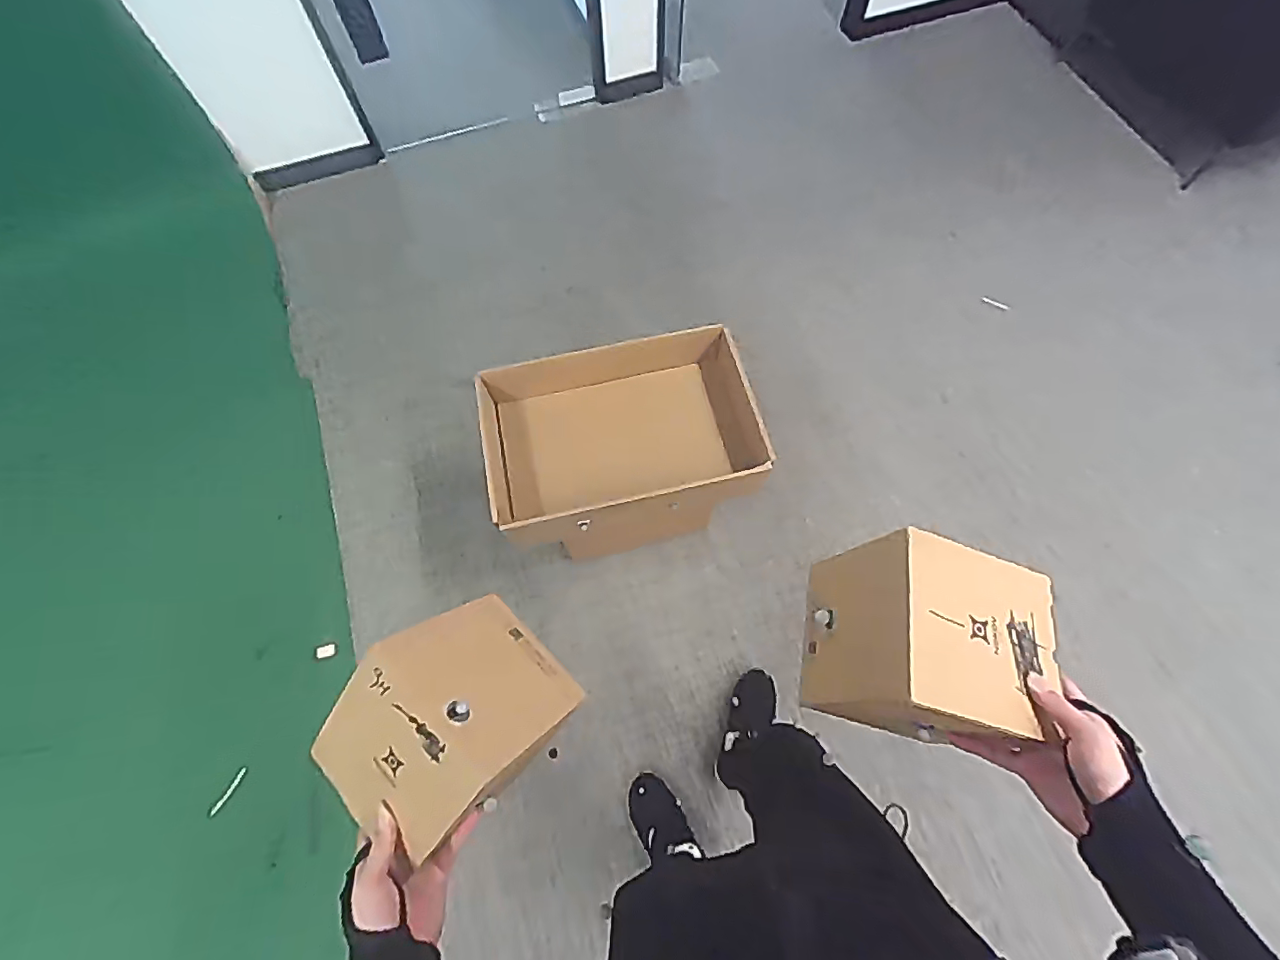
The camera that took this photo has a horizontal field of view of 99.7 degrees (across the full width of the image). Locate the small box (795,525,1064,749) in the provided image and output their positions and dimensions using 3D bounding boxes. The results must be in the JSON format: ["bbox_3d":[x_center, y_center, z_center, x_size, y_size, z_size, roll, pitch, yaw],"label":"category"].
[{"bbox_3d":[0.290,0.170,0.570,0.179,0.176,0.168,19,62,-9],"label":"small box"}]

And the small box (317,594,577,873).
[{"bbox_3d":[-0.199,0.254,0.582,0.168,0.176,0.179,42,112,17],"label":"small box"}]
